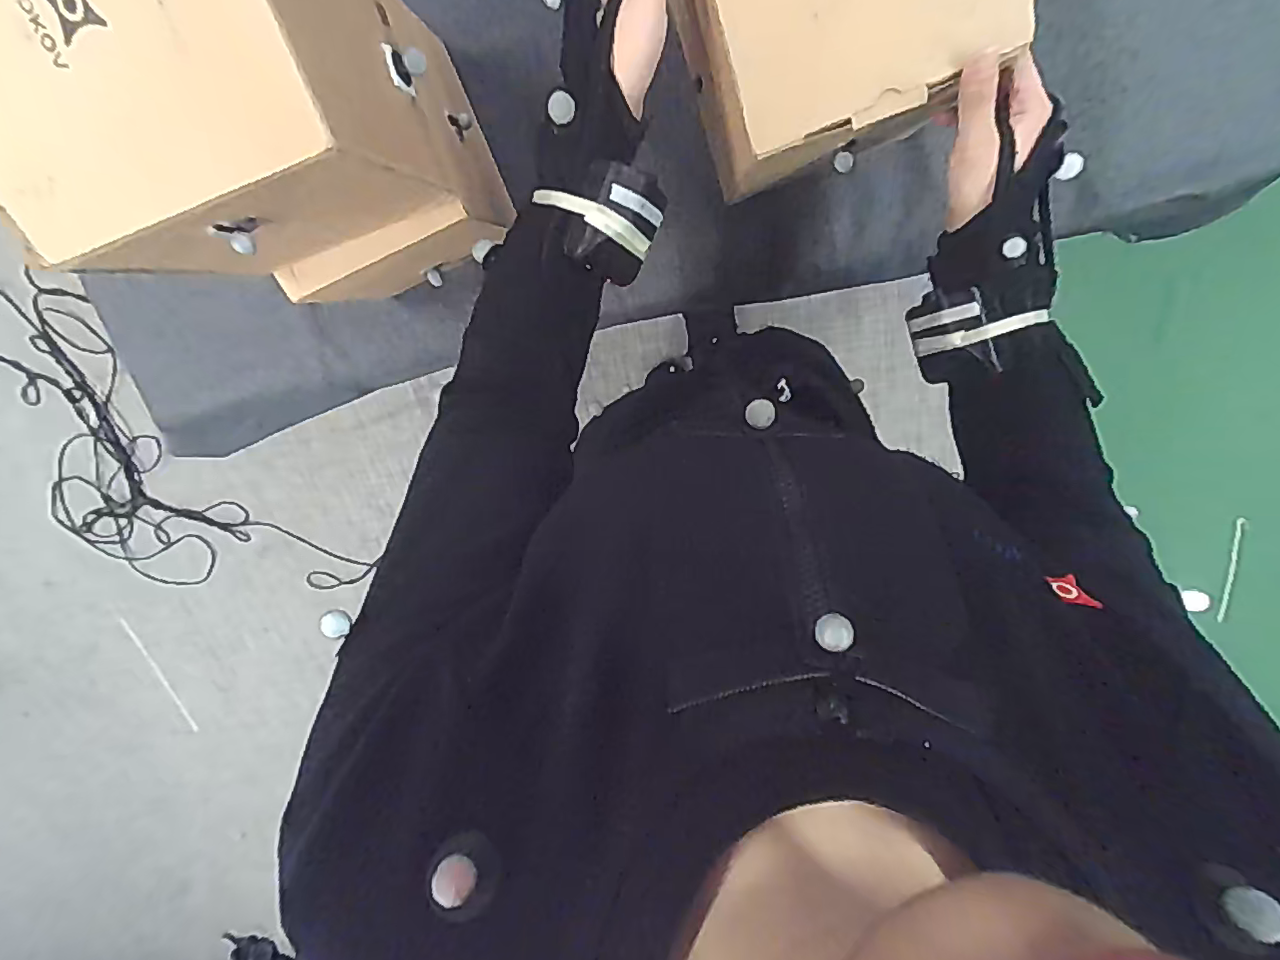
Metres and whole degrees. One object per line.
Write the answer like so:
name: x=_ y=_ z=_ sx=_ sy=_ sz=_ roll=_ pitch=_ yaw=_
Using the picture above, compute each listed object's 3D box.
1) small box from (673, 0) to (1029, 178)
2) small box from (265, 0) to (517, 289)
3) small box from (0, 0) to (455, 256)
small box: x=0.120 y=-0.330 z=0.369 sx=0.168 sy=0.176 sz=0.179 roll=-19 pitch=108 yaw=9
small box: x=-0.229 y=-0.277 z=0.457 sx=0.168 sy=0.176 sz=0.179 roll=-20 pitch=109 yaw=11
small box: x=-0.237 y=-0.233 z=0.300 sx=0.179 sy=0.176 sz=0.168 roll=-16 pitch=111 yaw=8
